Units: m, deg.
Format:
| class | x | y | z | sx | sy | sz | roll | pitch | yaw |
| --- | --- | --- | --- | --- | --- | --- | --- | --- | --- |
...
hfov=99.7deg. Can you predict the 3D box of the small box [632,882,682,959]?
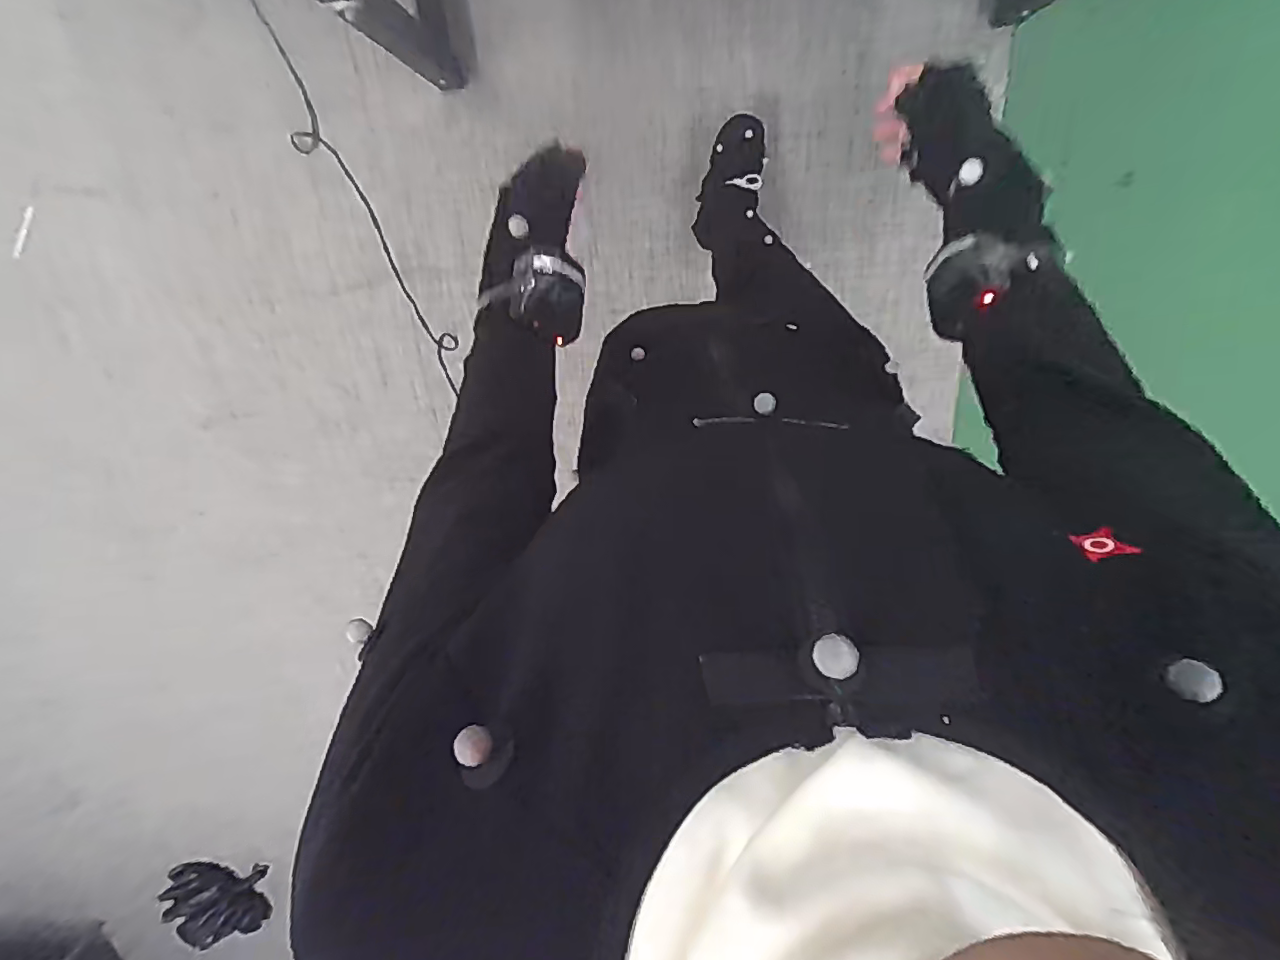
| class | x | y | z | sx | sy | sz | roll | pitch | yaw |
| --- | --- | --- | --- | --- | --- | --- | --- | --- | --- |
| small box | 0.060 | 1.549 | 1.890 | 0.168 | 0.176 | 0.179 | -2 | 112 | 1 |
